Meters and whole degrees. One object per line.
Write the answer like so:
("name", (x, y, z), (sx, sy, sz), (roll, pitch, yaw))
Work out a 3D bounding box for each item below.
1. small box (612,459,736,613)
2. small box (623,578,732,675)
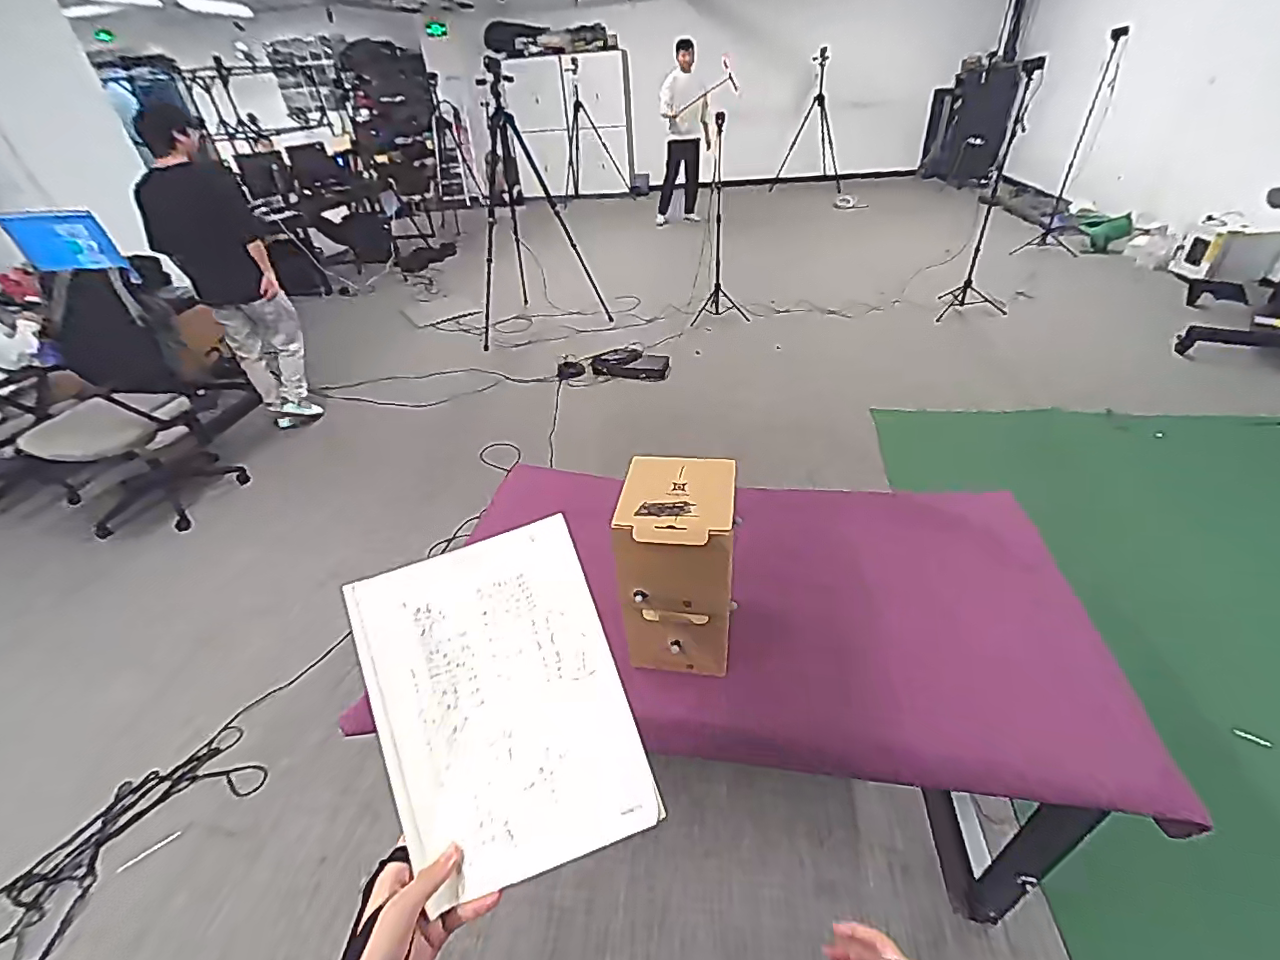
("small box", (0.062, 0.086, 0.844), (0.168, 0.176, 0.179), (3, 36, 11))
("small box", (0.074, 0.216, 0.946), (0.168, 0.176, 0.179), (3, 38, 10))
